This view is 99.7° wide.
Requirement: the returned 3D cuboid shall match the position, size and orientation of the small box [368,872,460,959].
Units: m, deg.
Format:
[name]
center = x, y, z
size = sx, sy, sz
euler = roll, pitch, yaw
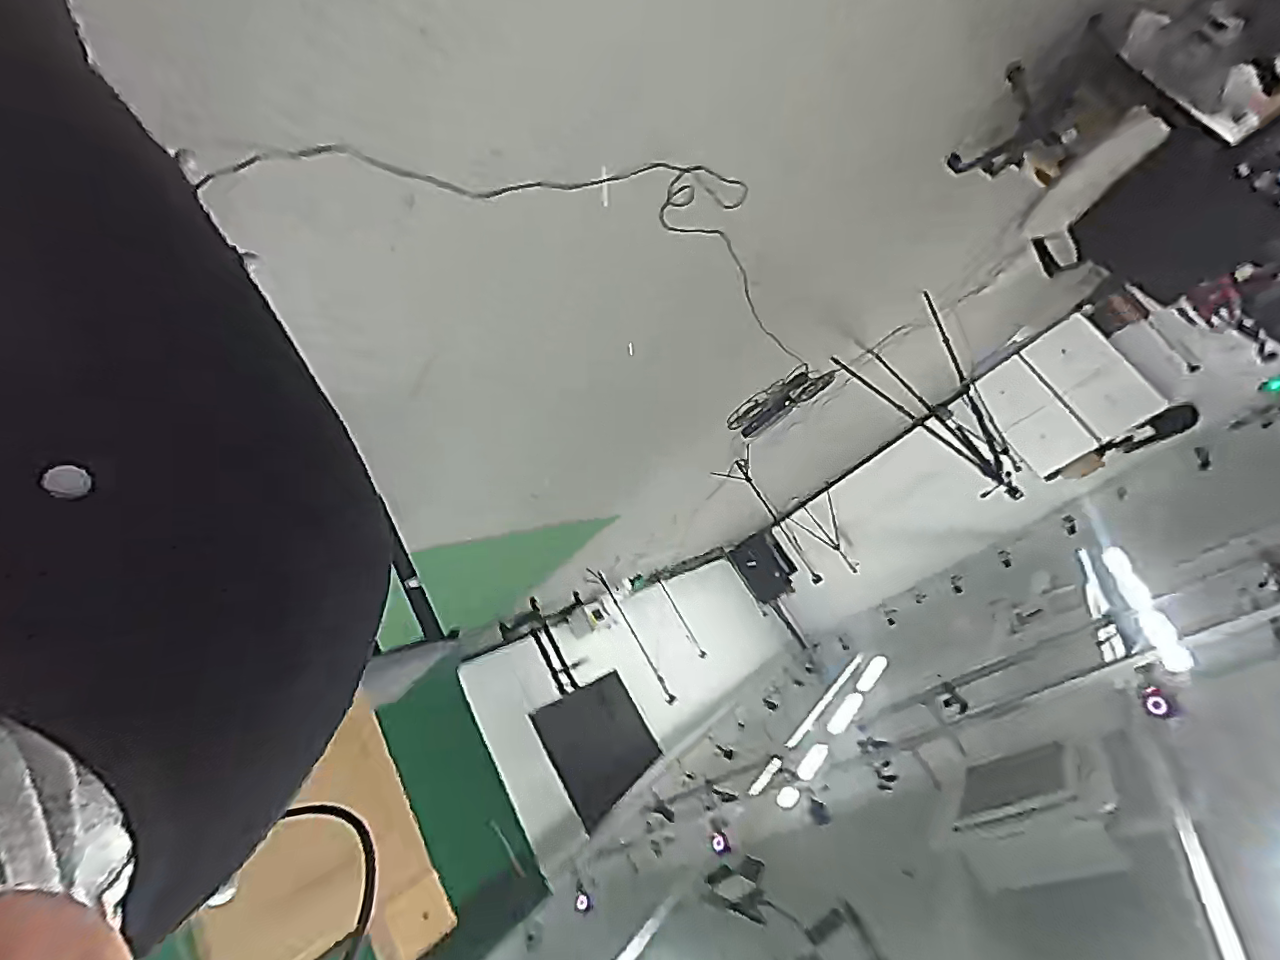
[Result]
[small box]
center = -0.690, 1.344, 1.649
size = 0.168, 0.176, 0.179
euler = -45, 161, 32
